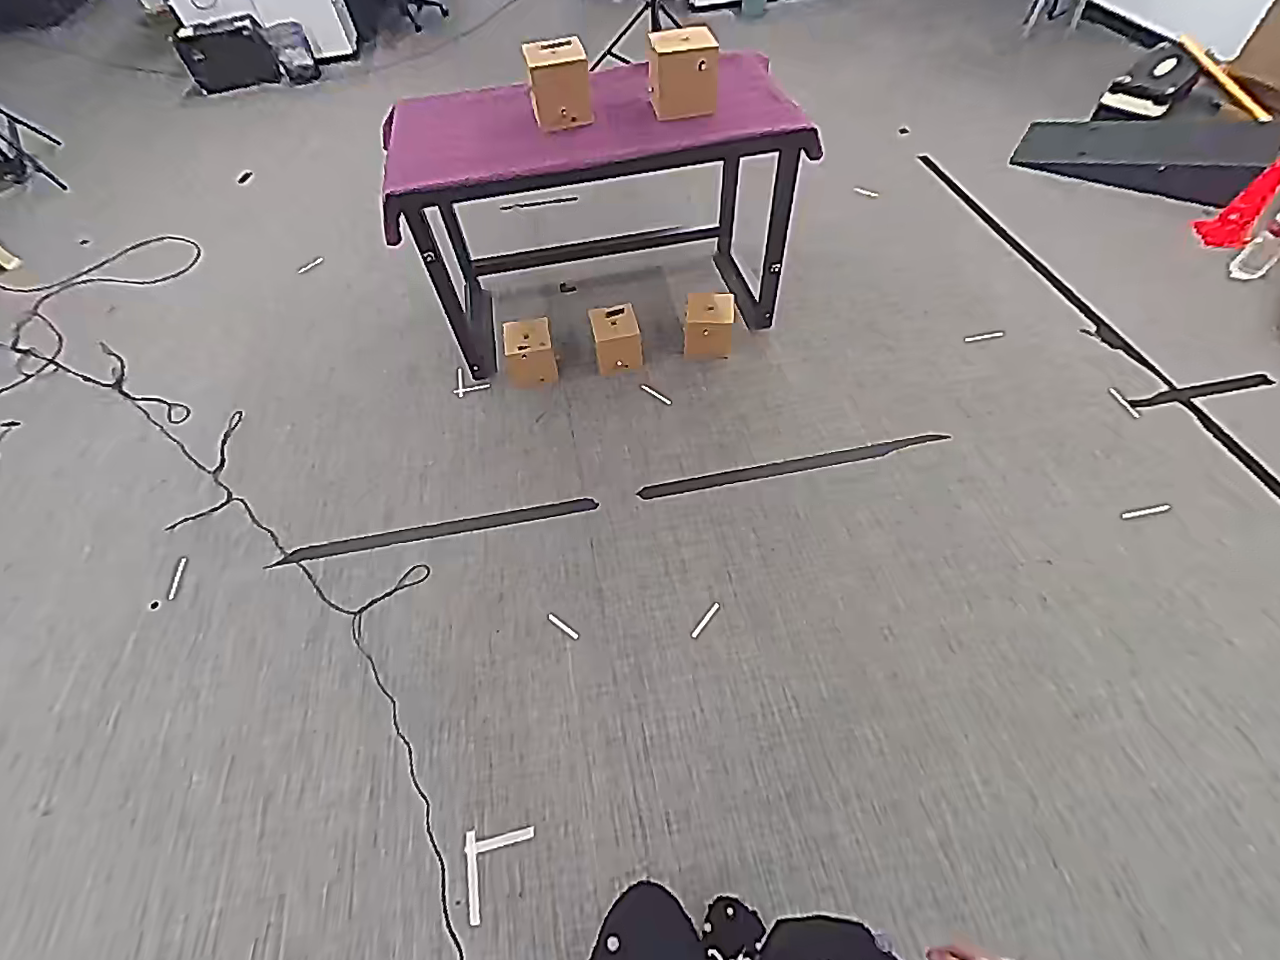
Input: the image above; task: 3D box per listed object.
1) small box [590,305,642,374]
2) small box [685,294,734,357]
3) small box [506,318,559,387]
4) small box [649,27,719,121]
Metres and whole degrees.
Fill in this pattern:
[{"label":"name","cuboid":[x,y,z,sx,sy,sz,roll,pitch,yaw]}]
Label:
[{"label":"small box","cuboid":[-0.090,-0.528,2.035,0.168,0.176,0.179,-12,57,-4]},{"label":"small box","cuboid":[0.263,-0.583,2.049,0.179,0.176,0.168,2,57,7]},{"label":"small box","cuboid":[-0.402,-0.475,2.023,0.168,0.176,0.179,-10,55,-3]},{"label":"small box","cuboid":[0.126,-1.188,1.586,0.179,0.176,0.168,-10,55,-2]}]
